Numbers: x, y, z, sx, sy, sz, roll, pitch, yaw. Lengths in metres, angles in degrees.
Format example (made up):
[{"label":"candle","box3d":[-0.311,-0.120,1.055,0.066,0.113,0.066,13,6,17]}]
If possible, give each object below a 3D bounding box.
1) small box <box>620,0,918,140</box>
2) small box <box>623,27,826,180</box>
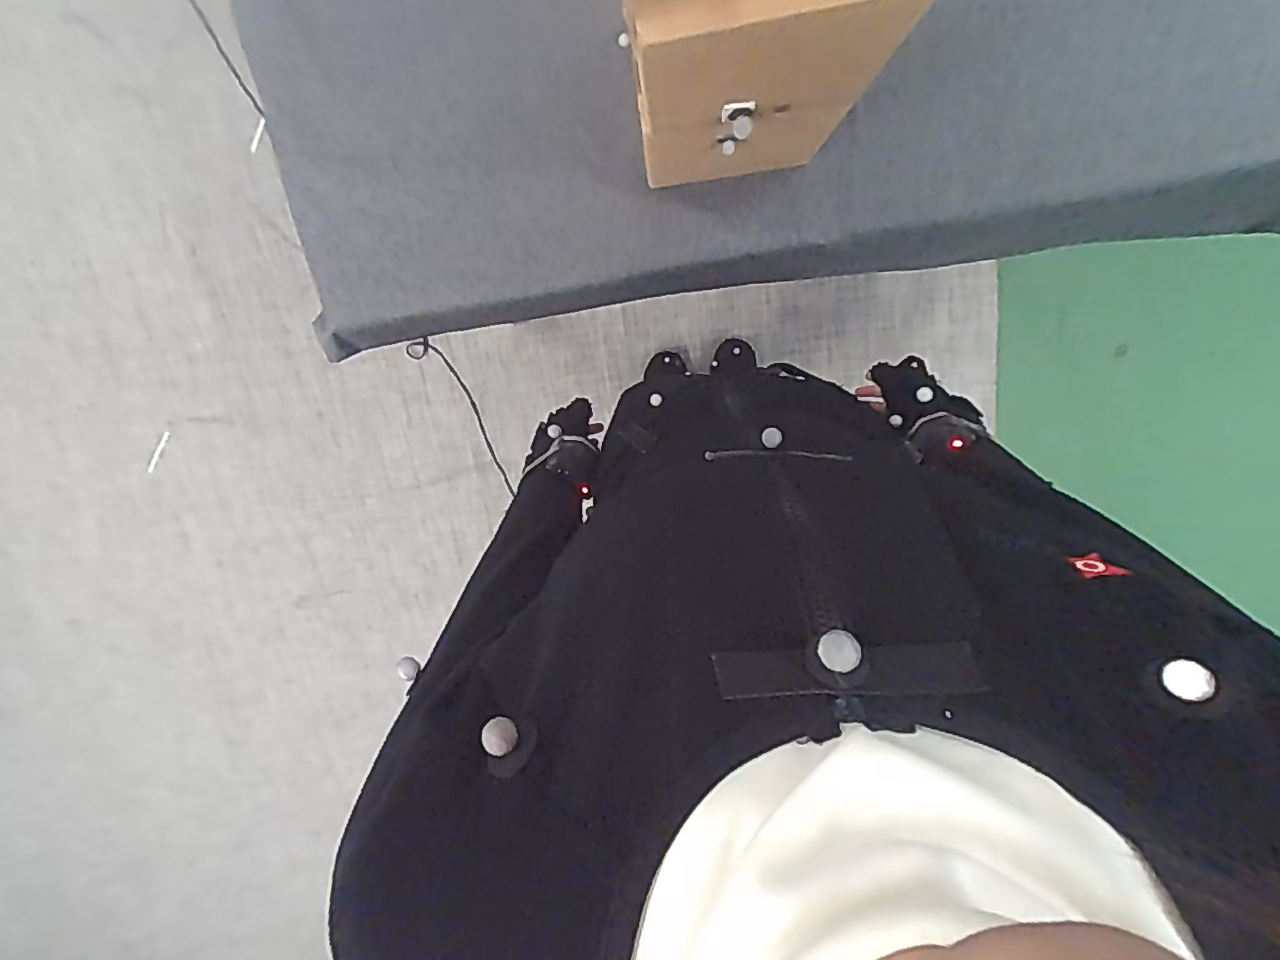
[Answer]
[{"label":"small box","box3d":[0.067,-0.353,0.345,0.168,0.176,0.179,-6,106,7]},{"label":"small box","box3d":[0.077,-0.397,0.500,0.179,0.176,0.168,-6,105,4]}]
